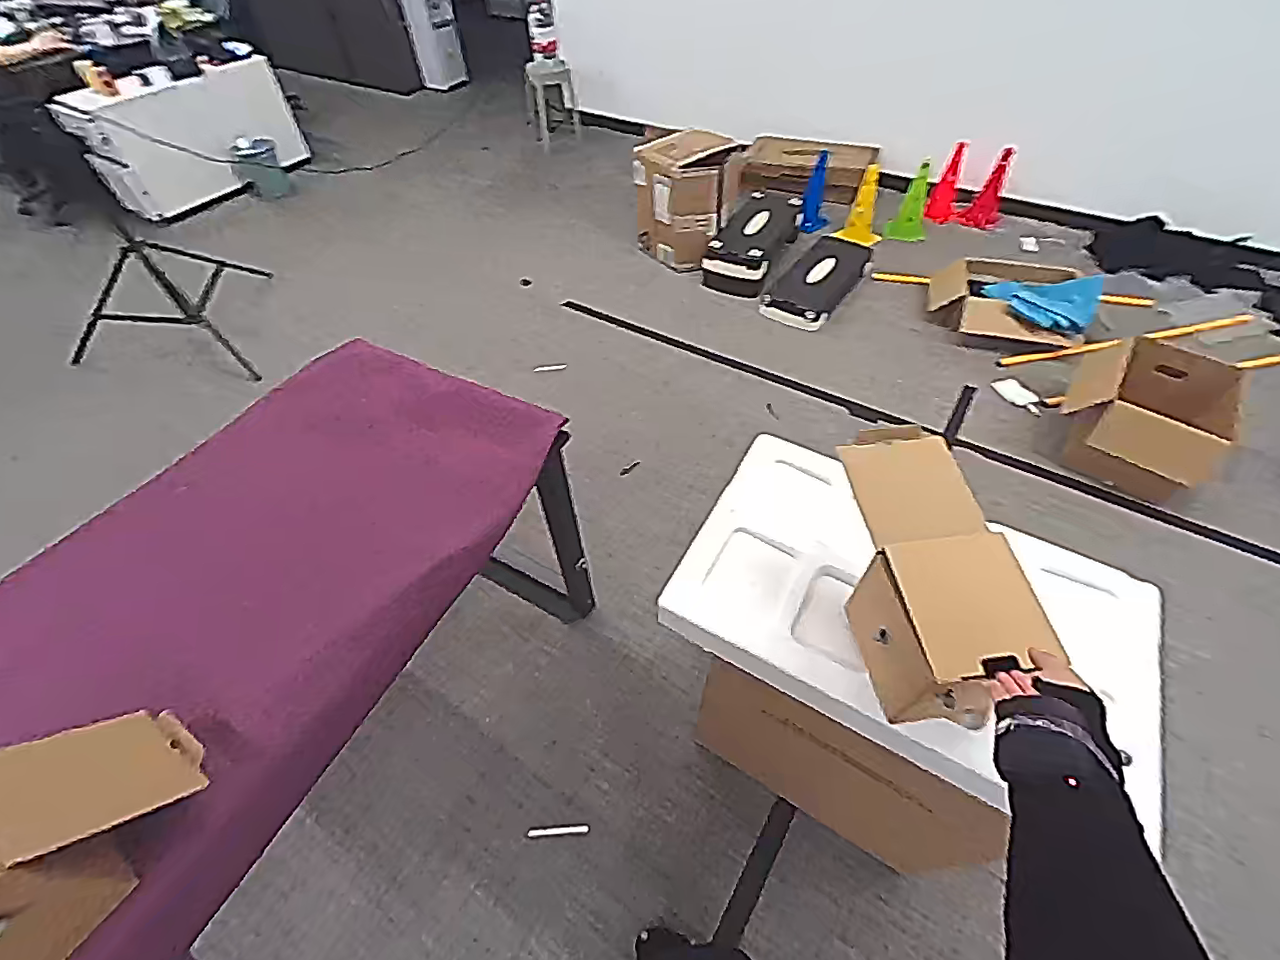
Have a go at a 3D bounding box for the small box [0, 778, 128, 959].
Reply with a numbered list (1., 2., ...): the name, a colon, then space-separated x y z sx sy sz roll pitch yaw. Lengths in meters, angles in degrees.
1. small box: -0.686 0.429 0.548 0.168 0.176 0.179 25 56 23
